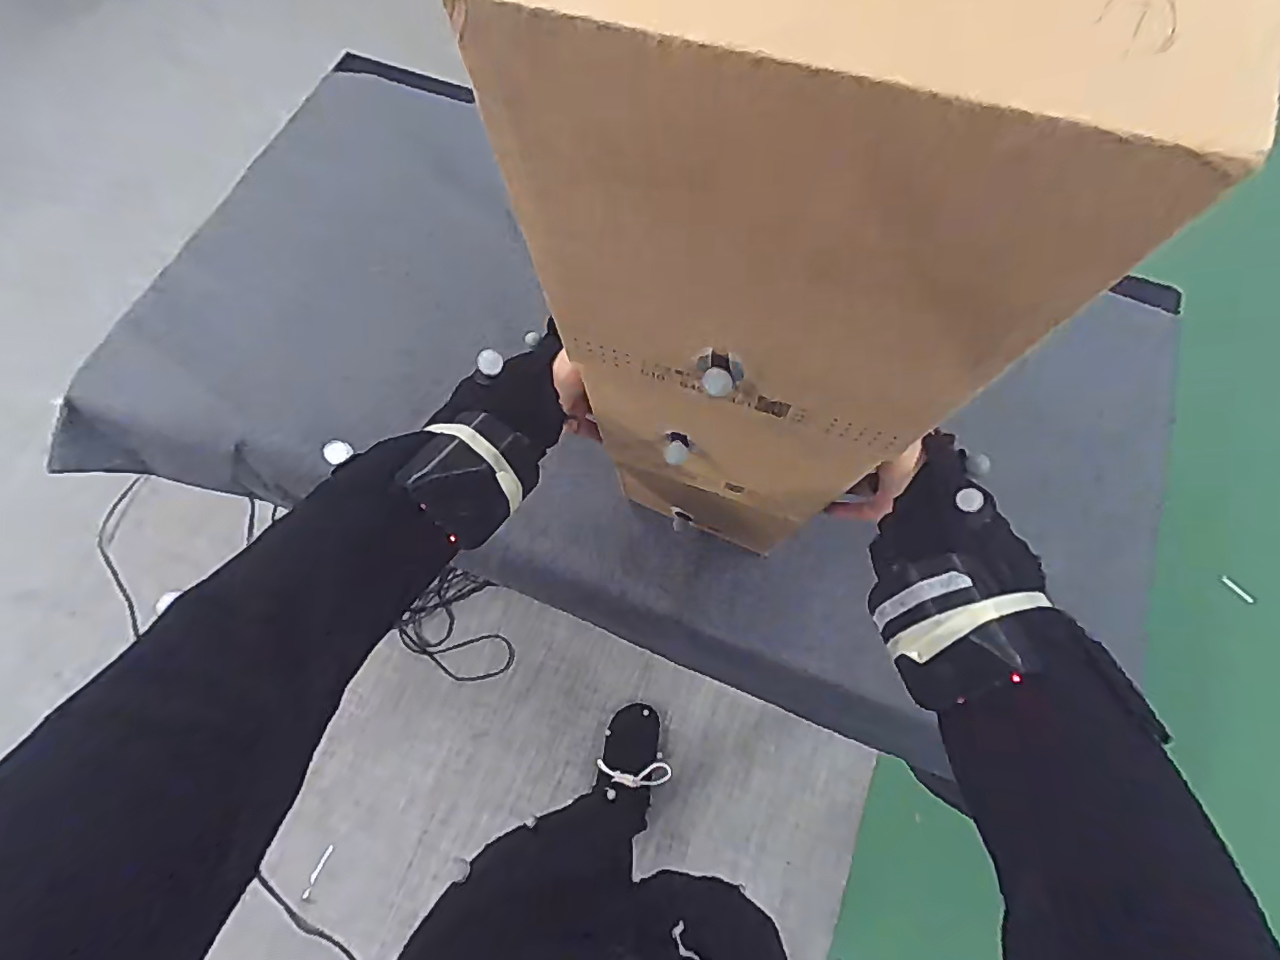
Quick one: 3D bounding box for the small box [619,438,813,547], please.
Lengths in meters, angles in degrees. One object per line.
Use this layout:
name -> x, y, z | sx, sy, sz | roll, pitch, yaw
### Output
small box -> 0.091, -0.053, 0.524 | 0.168, 0.176, 0.179 | 21, 76, 9

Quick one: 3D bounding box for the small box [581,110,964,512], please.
small box -> 0.078, -0.094, 0.366 | 0.168, 0.176, 0.179 | 19, 75, 8
